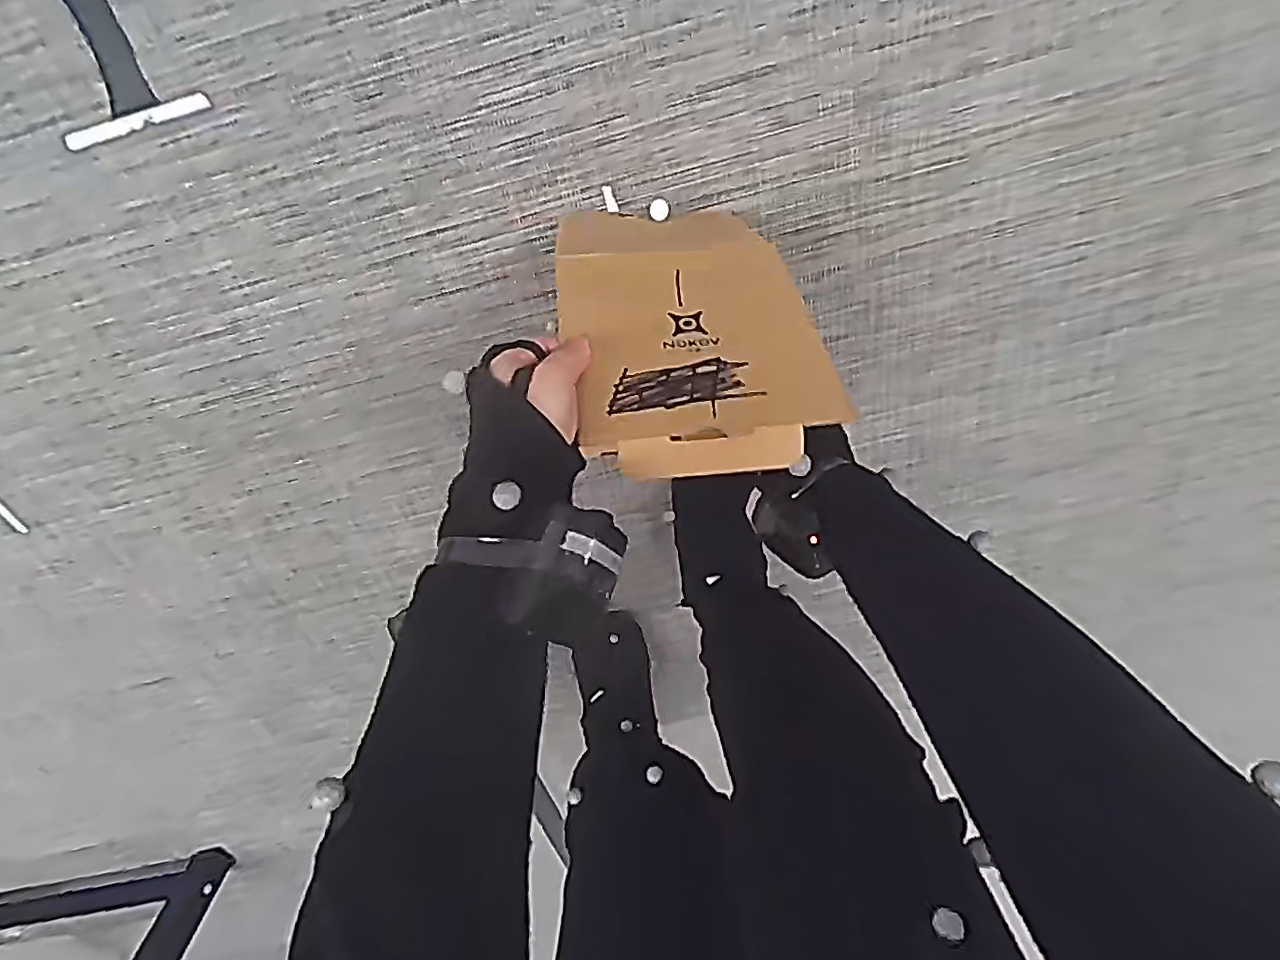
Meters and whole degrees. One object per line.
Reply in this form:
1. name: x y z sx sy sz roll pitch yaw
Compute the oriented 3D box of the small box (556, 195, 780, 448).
1. small box: 0.010 -0.147 0.498 0.168 0.176 0.179 -1 126 -7
